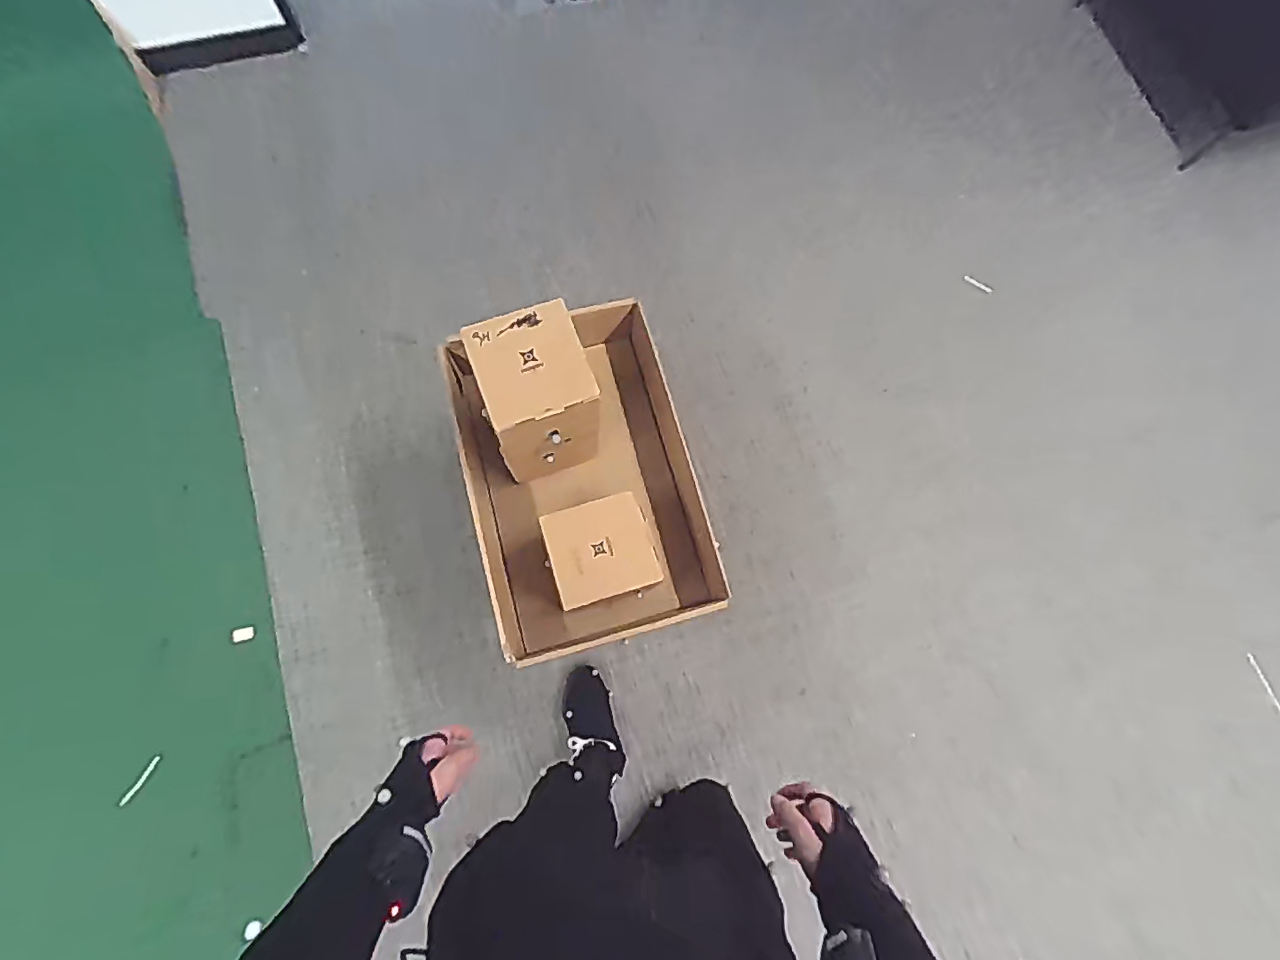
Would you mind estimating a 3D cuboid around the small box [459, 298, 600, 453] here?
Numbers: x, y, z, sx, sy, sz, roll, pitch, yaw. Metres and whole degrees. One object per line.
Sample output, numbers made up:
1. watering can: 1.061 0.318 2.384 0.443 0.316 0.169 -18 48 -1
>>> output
1. small box: -0.168 -0.156 0.873 0.168 0.176 0.179 -20 80 -9
